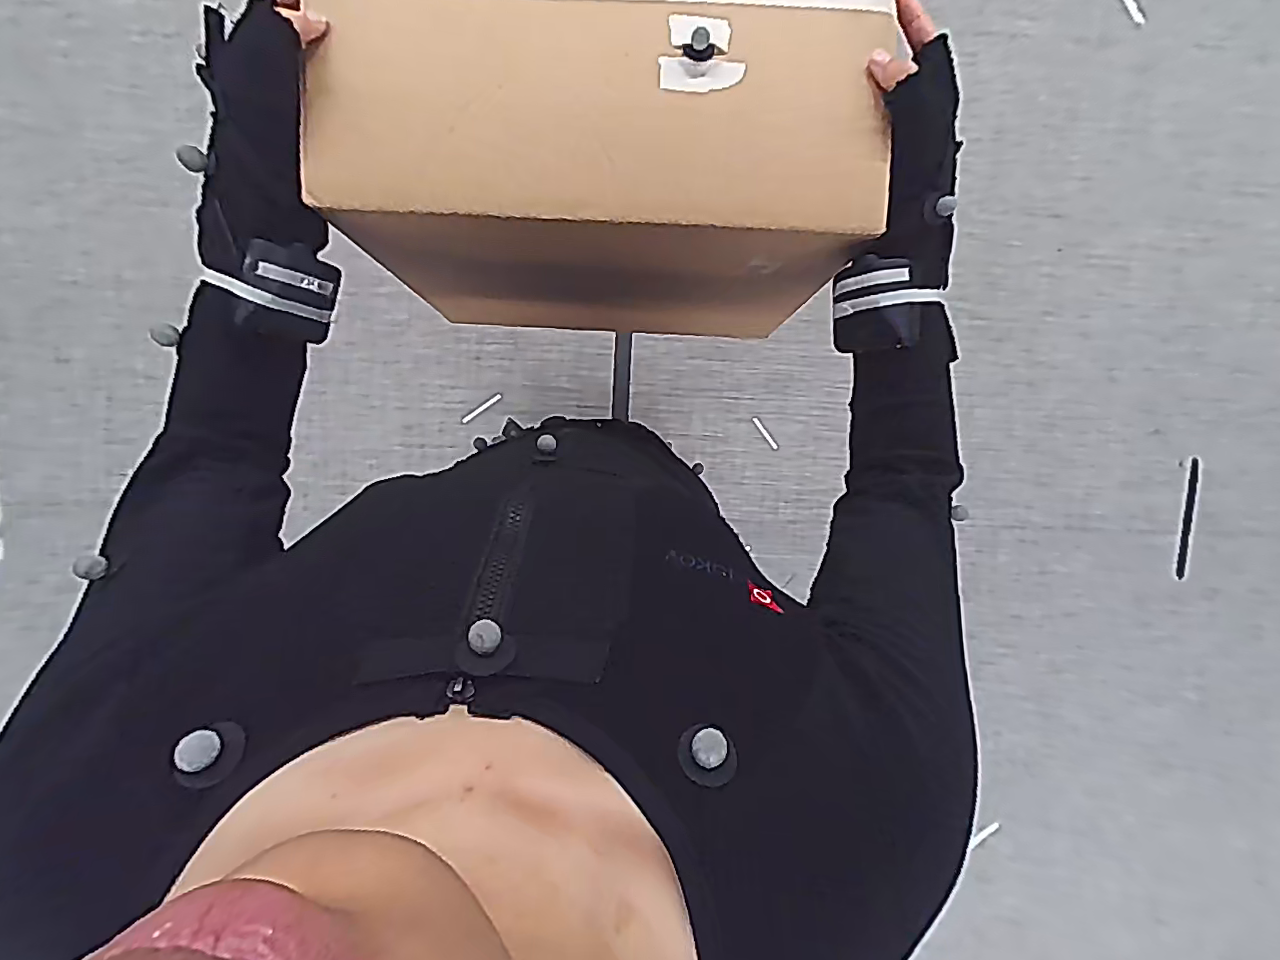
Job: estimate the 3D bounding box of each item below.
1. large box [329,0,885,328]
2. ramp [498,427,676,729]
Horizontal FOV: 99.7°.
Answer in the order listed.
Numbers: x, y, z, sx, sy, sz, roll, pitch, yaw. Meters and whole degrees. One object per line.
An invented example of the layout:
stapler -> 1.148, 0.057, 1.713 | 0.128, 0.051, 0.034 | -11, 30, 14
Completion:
large box -> -0.026, -0.347, 0.537 | 0.408, 0.320, 0.320 | 2, 92, -2
ramp -> -0.156, 0.337, 1.618 | 0.509, 0.206, 0.991 | 0, 98, -3
